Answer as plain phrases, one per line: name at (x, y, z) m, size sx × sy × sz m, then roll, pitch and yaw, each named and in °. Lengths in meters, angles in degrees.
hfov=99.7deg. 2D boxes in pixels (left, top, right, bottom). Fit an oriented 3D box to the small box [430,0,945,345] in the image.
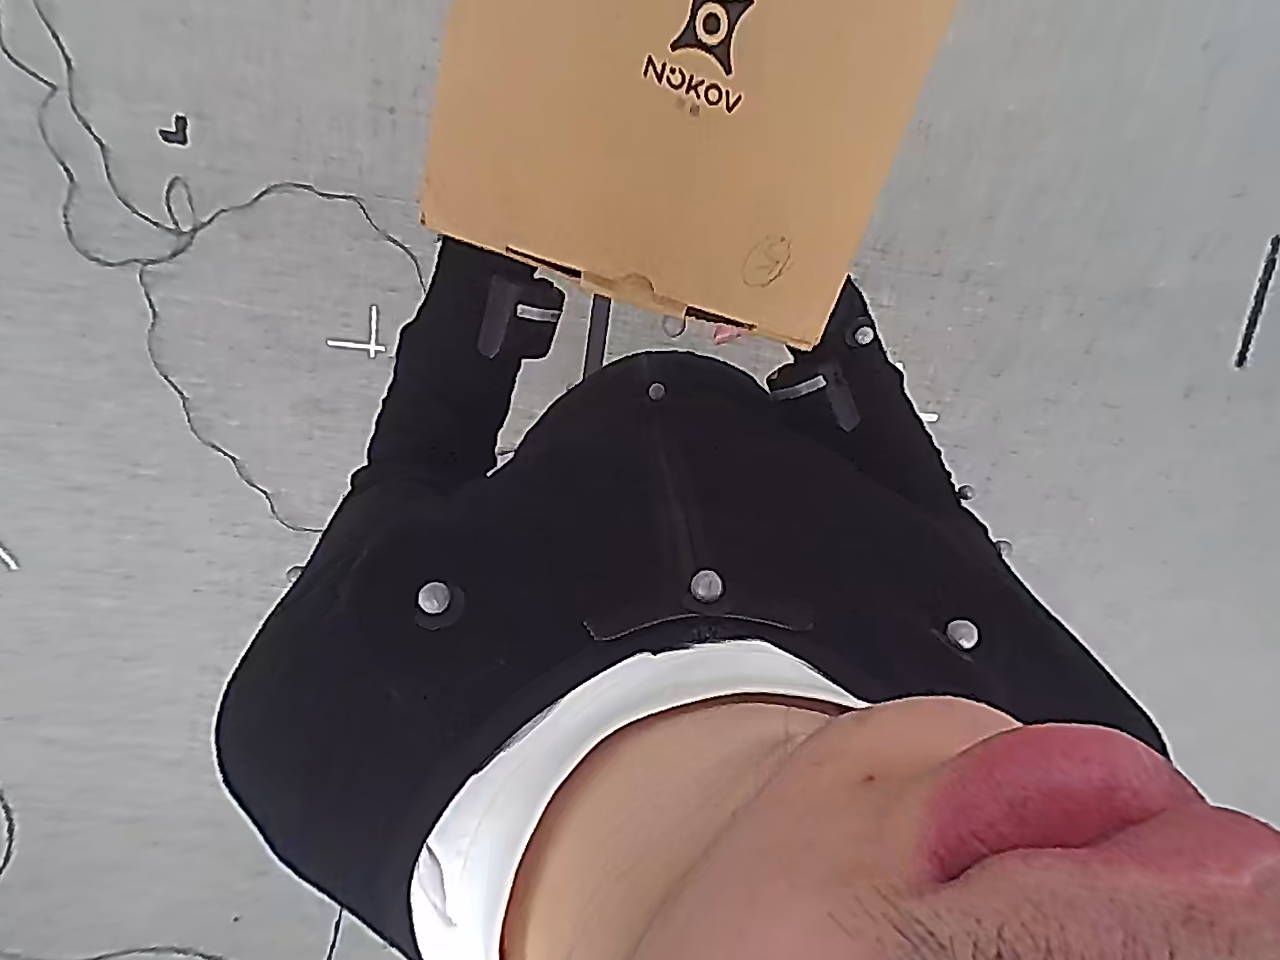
small box at (0.010, -0.185, 0.269) m, size 0.168 × 0.176 × 0.179 m, roll 13°, pitch 109°, yaw -14°
